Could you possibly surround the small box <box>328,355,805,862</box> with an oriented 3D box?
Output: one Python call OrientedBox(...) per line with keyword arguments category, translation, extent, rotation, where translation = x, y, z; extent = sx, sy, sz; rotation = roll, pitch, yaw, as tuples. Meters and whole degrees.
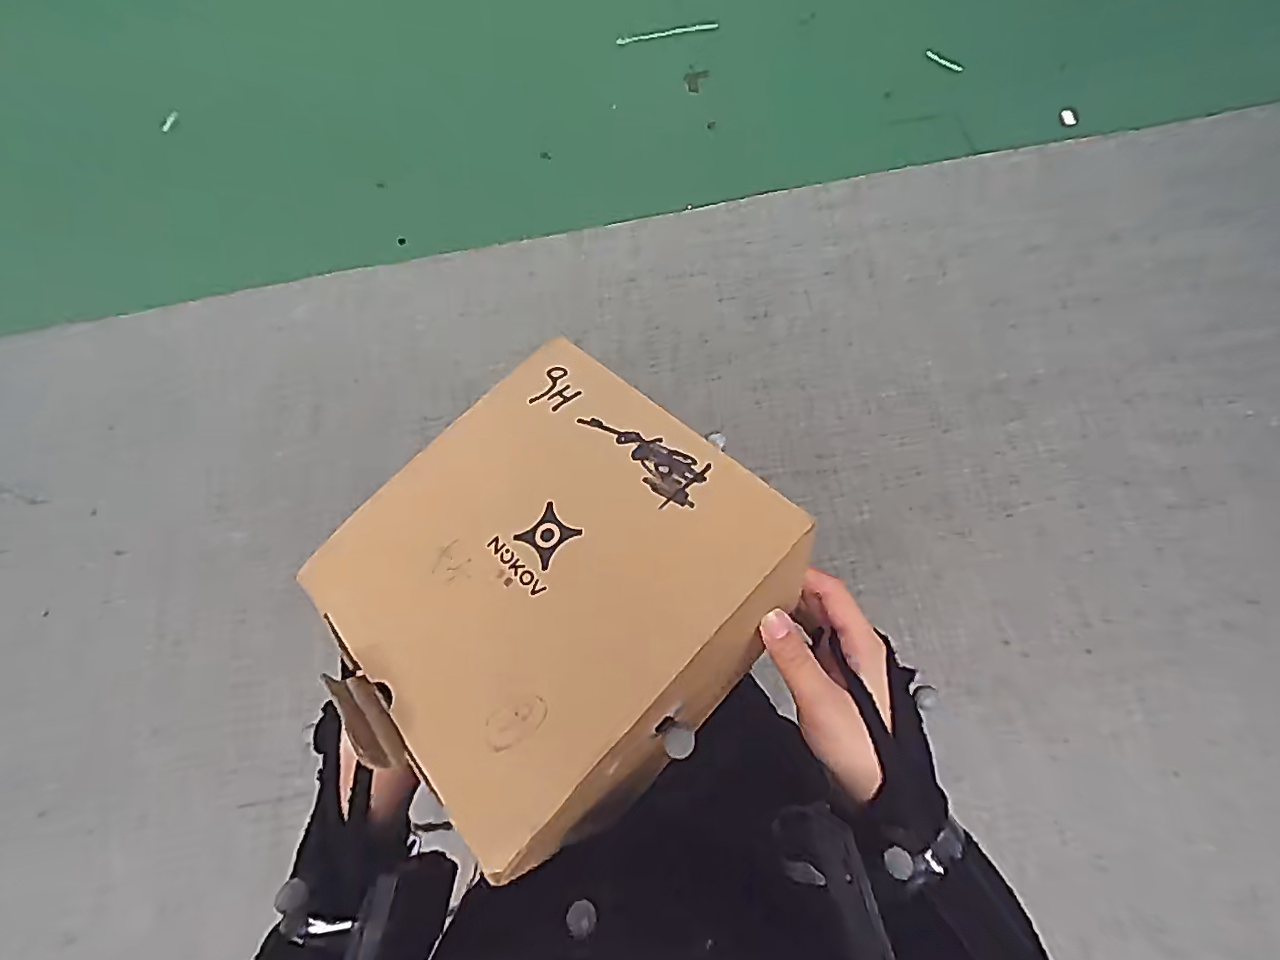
OrientedBox(category="small box", translation=(-0.025, 0.070, 0.316), extent=(0.168, 0.176, 0.179), rotation=(39, 78, 26))
